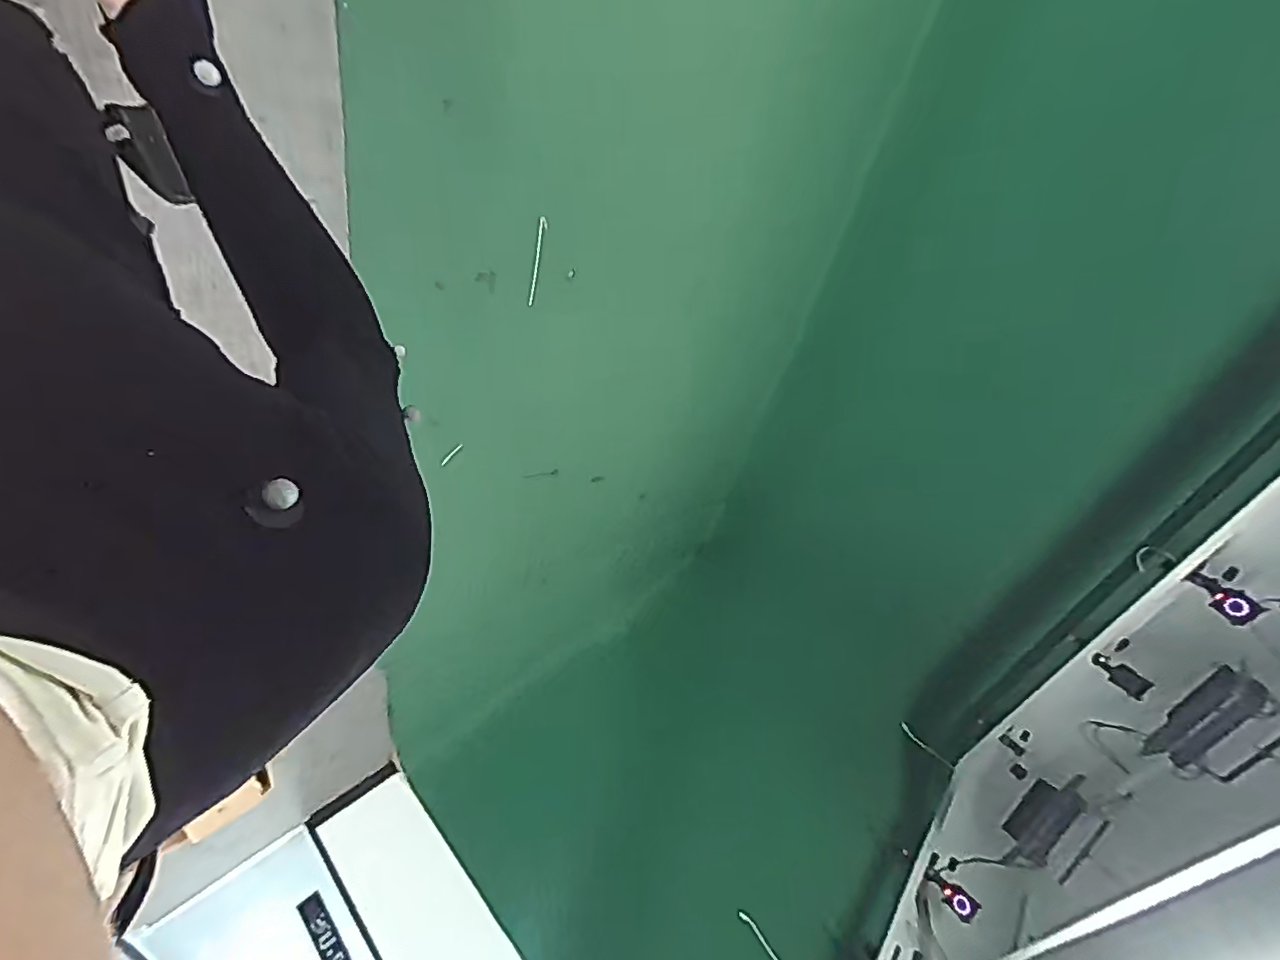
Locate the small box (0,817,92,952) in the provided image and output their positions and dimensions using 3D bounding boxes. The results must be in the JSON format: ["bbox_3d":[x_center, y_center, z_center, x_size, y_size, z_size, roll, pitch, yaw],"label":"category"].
[{"bbox_3d":[-1.448,0.950,1.283,0.168,0.176,0.179,-21,138,-44],"label":"small box"}]
